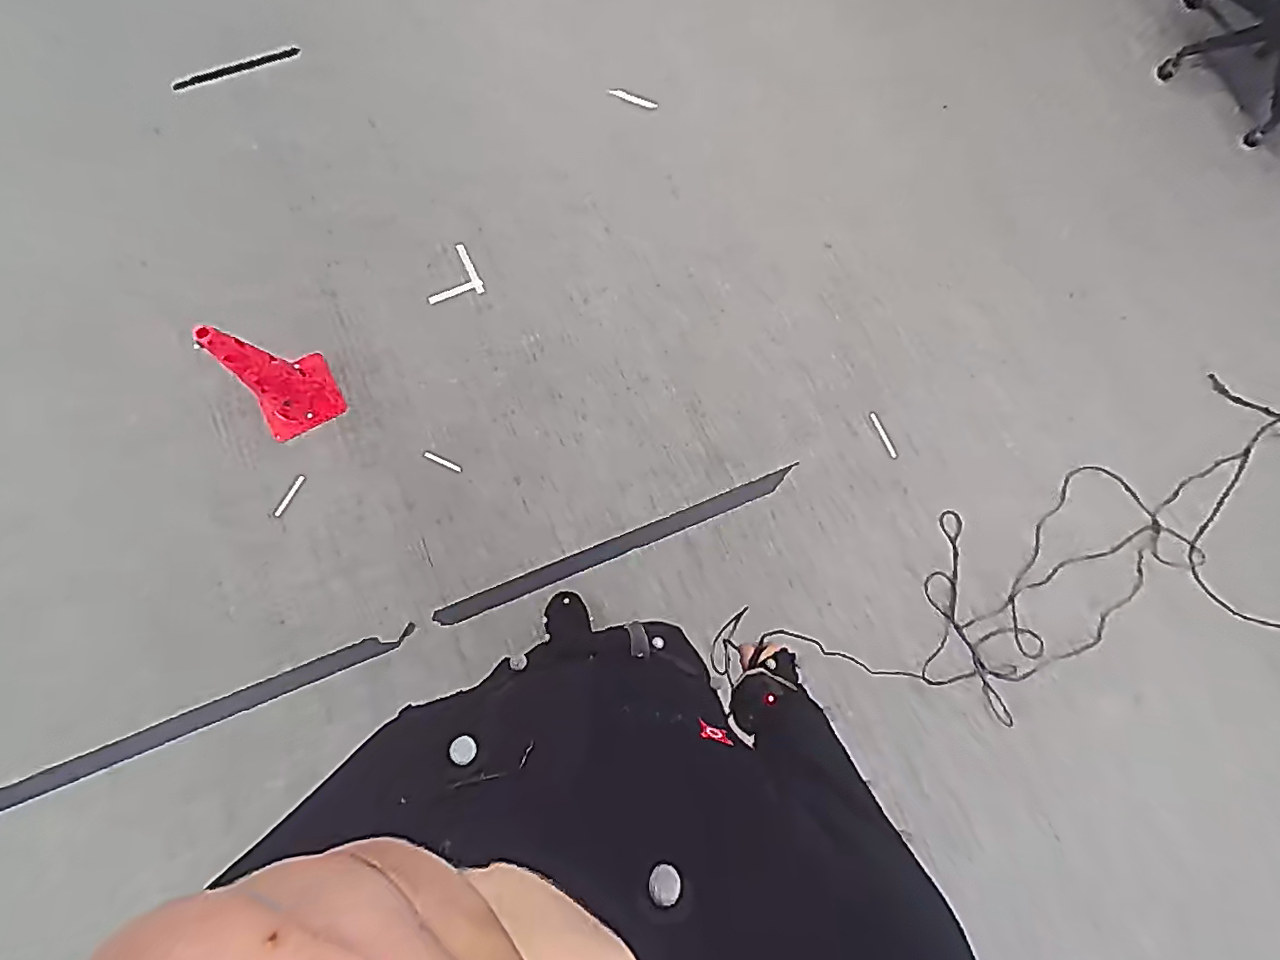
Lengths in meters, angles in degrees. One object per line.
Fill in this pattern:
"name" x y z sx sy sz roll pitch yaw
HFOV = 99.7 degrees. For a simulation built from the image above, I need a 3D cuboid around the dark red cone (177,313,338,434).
"dark red cone" -0.905 -0.272 1.250 0.202 0.394 0.201 -30 82 -9
